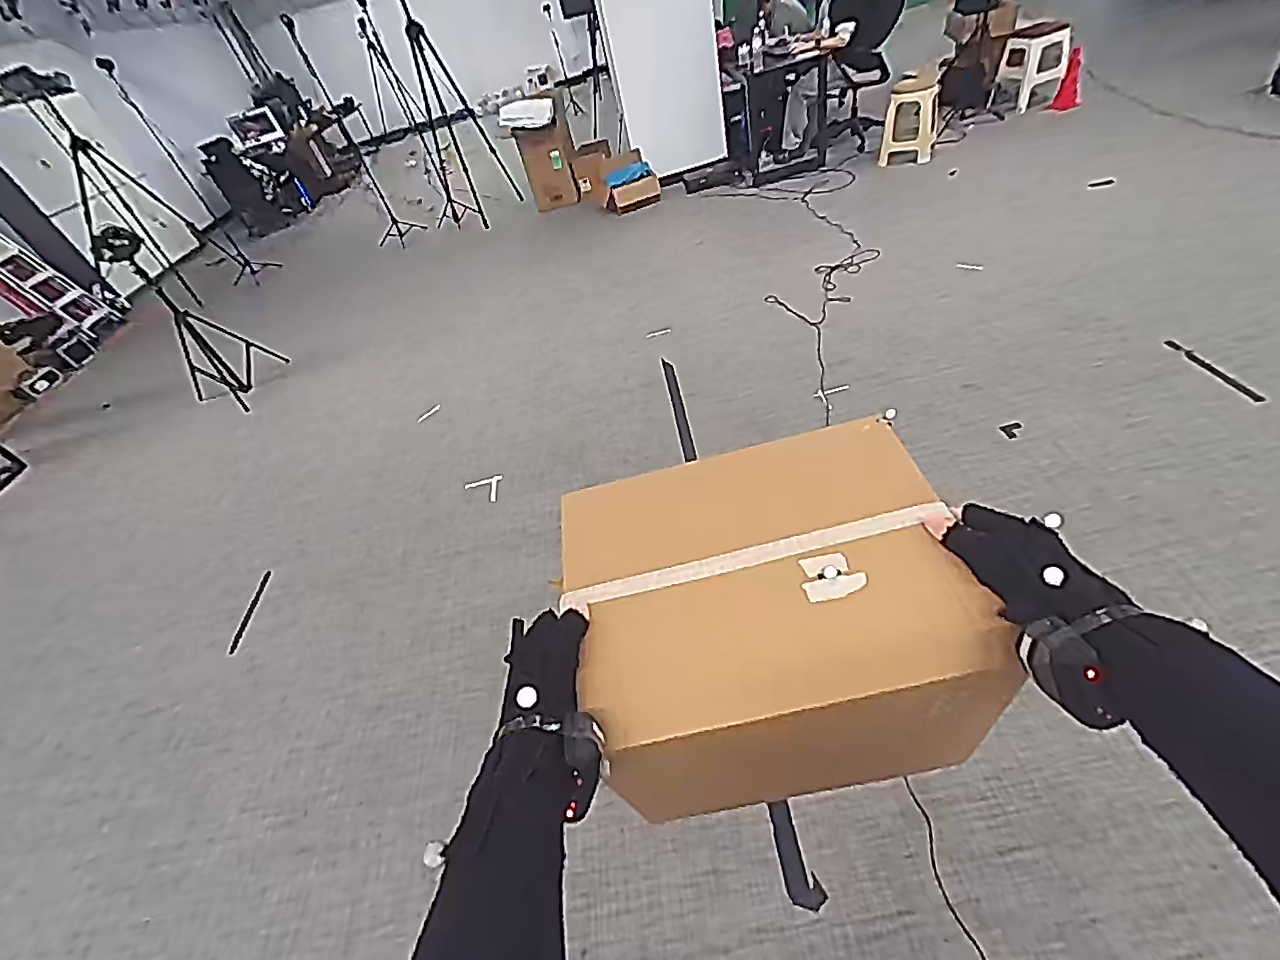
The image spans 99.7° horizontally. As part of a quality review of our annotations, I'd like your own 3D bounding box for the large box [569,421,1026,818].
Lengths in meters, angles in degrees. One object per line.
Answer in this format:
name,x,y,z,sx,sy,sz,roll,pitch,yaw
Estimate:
large box,0.151,0.182,0.681,0.408,0.320,0.320,-14,47,4
